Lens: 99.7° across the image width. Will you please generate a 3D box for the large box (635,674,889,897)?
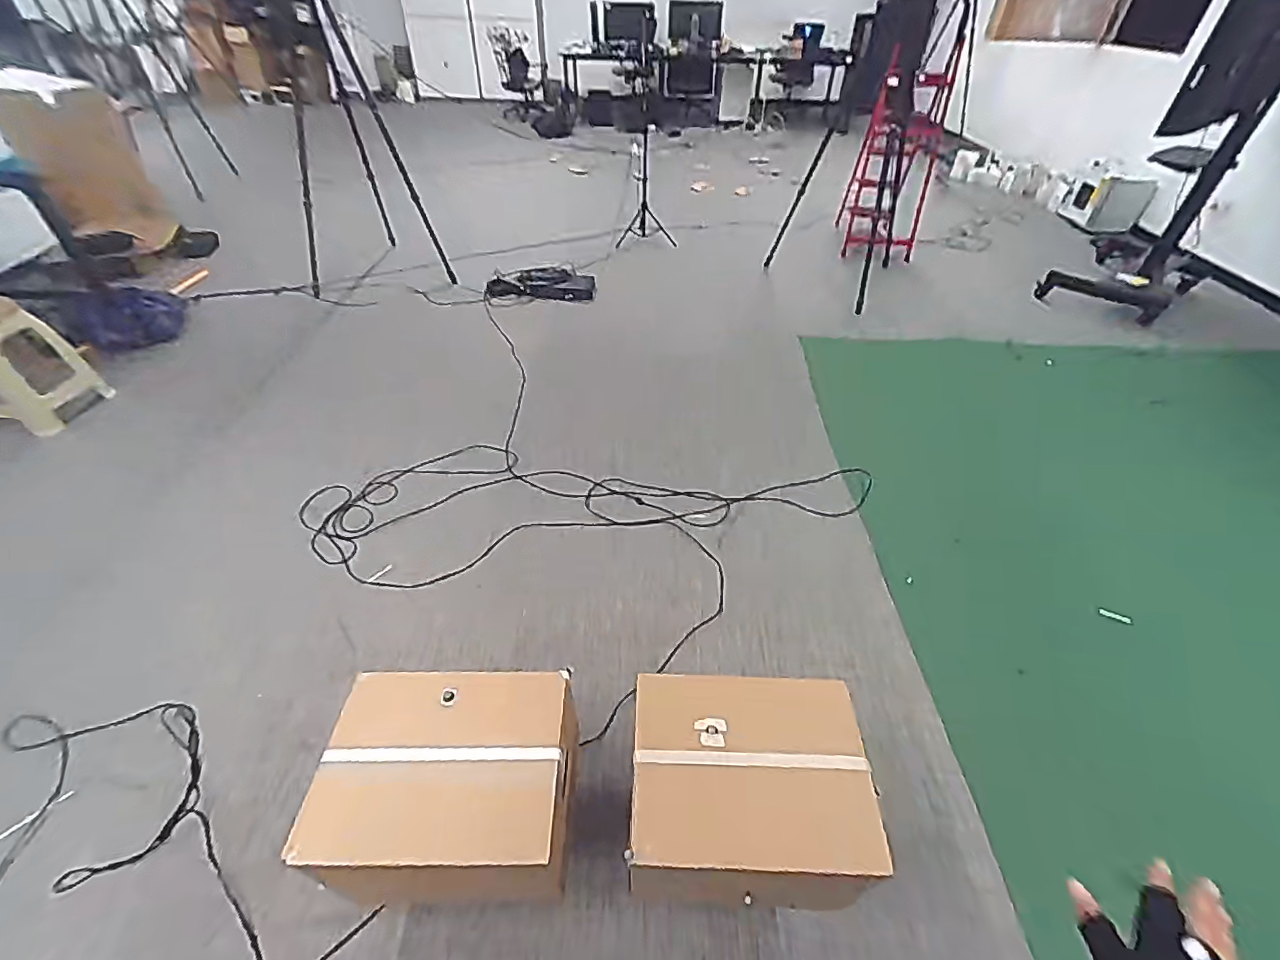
[{"bbox_3d":[0.197,0.597,1.053,0.408,0.320,0.320,1,43,1],"label":"large box"}]
